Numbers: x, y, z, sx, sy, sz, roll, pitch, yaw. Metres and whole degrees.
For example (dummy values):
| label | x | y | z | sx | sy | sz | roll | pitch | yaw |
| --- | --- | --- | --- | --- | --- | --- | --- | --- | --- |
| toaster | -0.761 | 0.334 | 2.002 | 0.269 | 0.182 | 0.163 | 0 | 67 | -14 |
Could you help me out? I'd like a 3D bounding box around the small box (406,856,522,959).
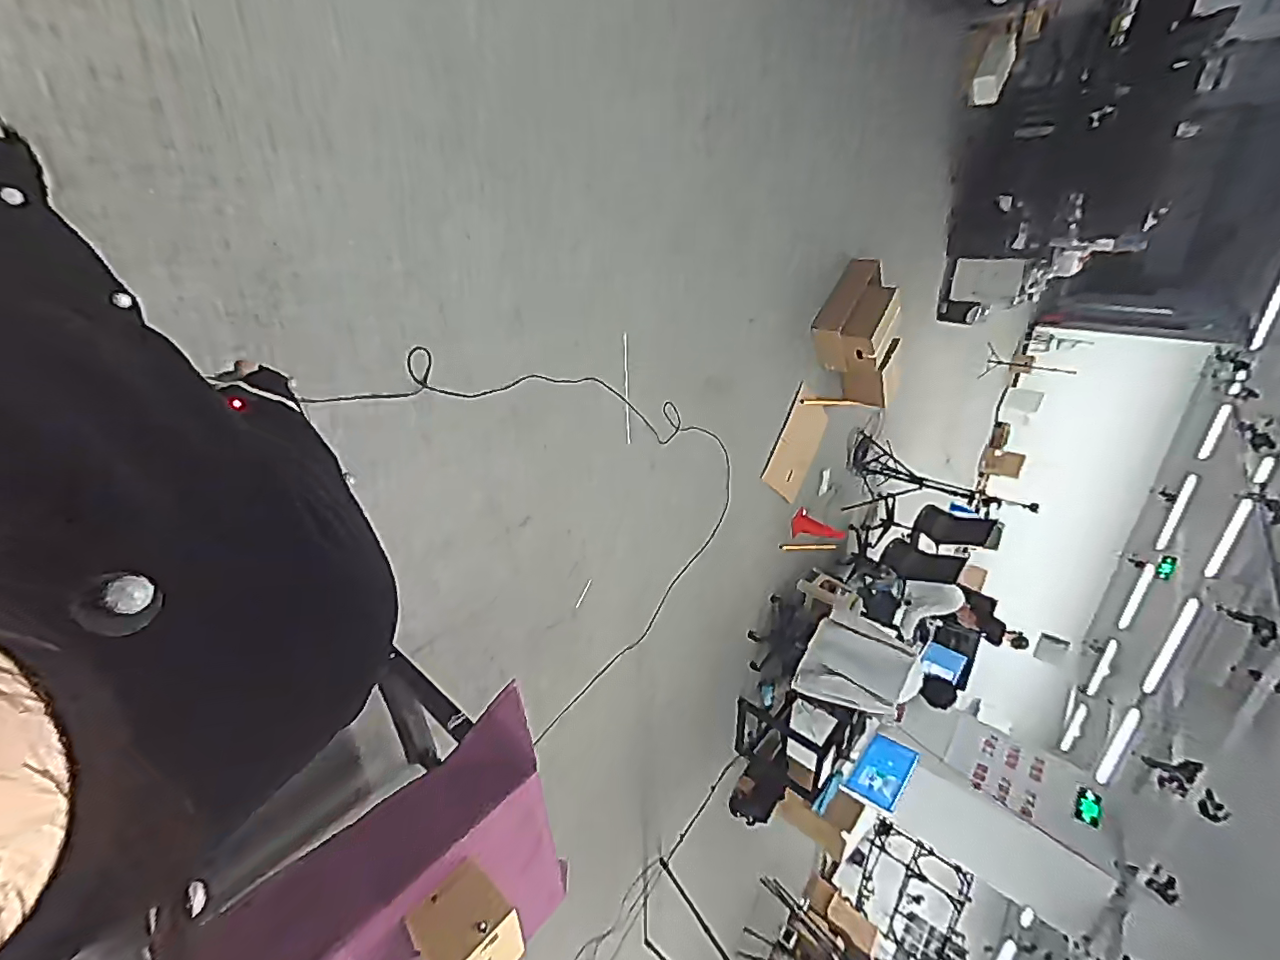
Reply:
| label | x | y | z | sx | sy | sz | roll | pitch | yaw |
| --- | --- | --- | --- | --- | --- | --- | --- | --- | --- |
| small box | -0.377 | 0.969 | 1.166 | 0.168 | 0.176 | 0.179 | -27 | 127 | -42 |
